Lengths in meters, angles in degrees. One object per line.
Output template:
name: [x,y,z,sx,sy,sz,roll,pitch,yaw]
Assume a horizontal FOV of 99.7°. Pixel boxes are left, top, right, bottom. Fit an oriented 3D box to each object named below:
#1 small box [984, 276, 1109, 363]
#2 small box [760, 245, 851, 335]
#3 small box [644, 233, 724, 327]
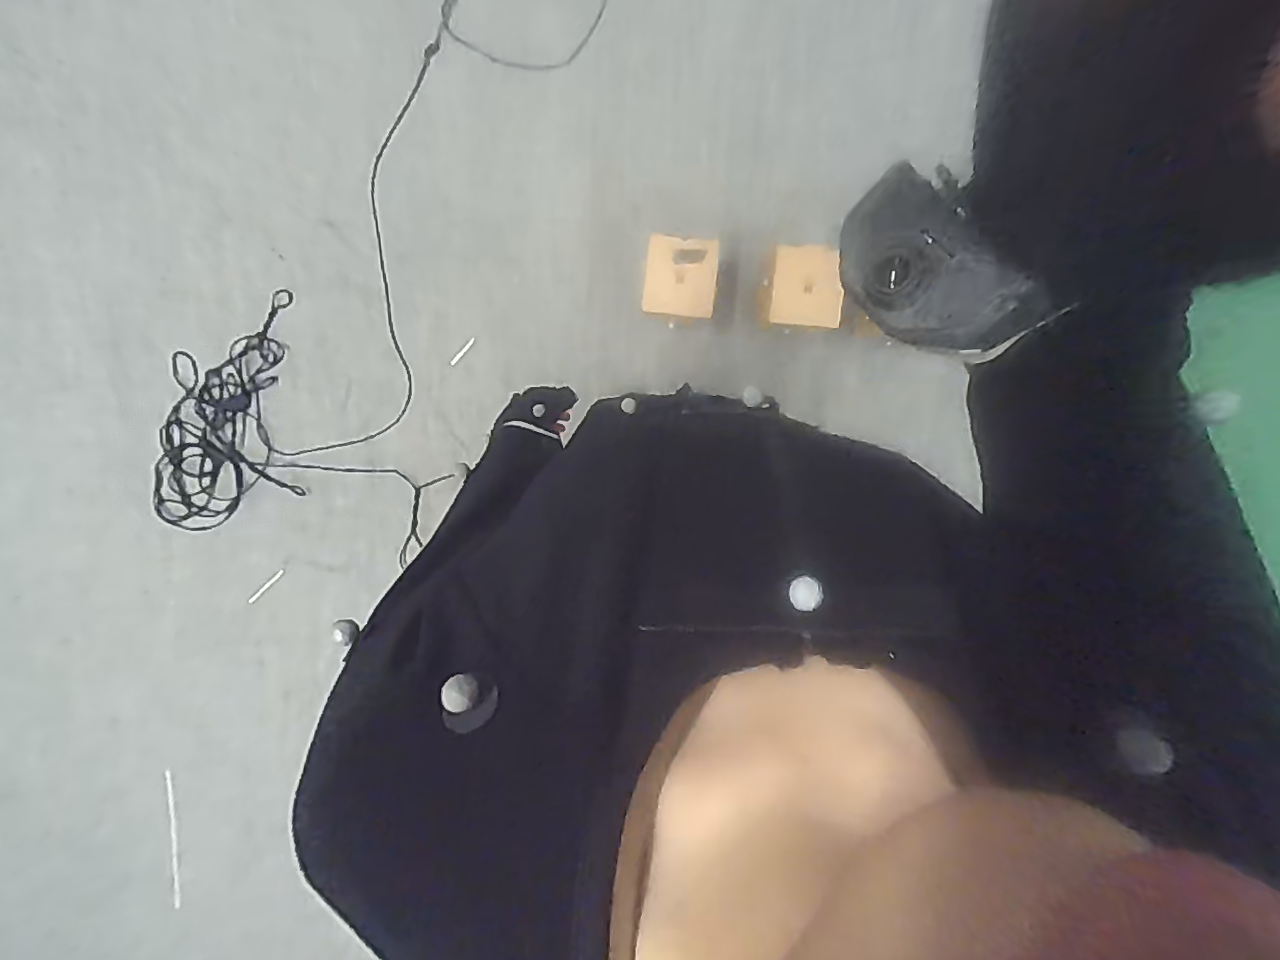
small box: [0.980,-0.384,1.321,0.168,0.176,0.179,5,98,-1]
small box: [0.394,-0.455,1.320,0.168,0.176,0.179,5,97,1]
small box: [0.101,-0.480,1.321,0.168,0.176,0.179,7,99,1]
